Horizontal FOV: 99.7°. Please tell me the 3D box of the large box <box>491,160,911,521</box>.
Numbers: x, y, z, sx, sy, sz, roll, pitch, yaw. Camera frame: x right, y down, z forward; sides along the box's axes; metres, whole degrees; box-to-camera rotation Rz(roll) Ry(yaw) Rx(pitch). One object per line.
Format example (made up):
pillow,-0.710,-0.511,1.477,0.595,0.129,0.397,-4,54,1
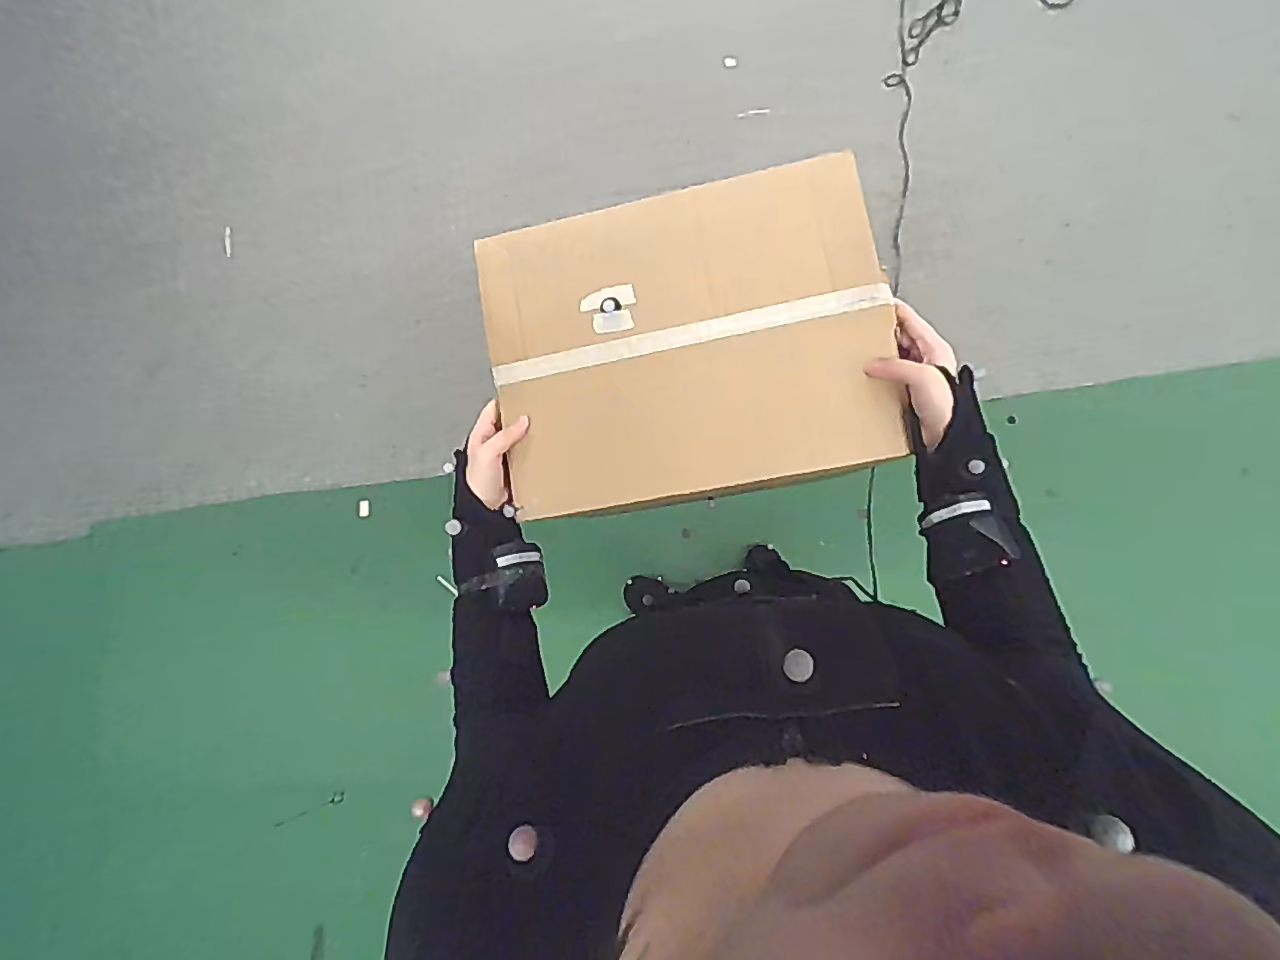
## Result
large box,0.074,-0.134,0.712,0.408,0.320,0.320,-10,85,9
